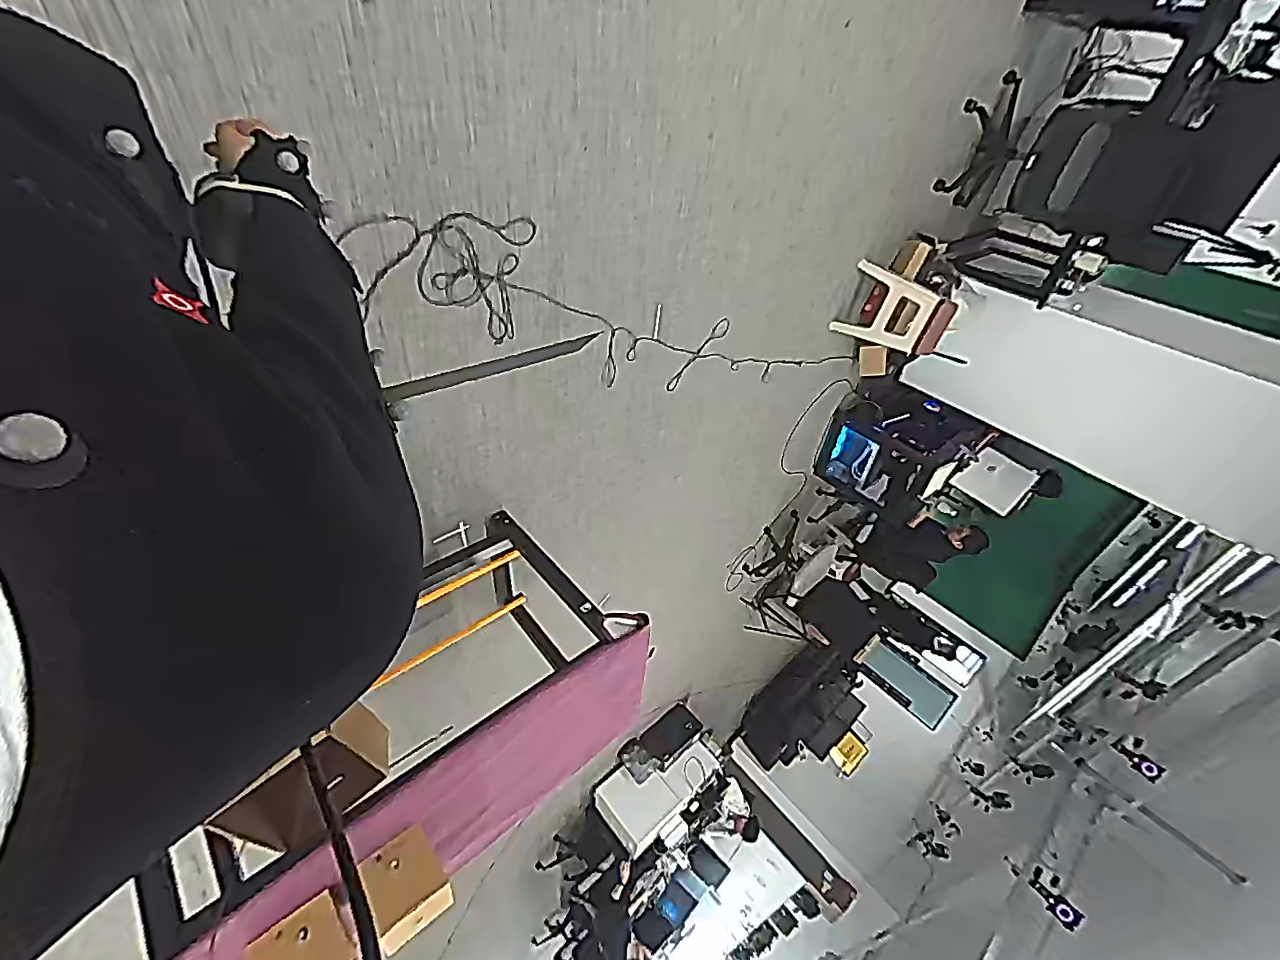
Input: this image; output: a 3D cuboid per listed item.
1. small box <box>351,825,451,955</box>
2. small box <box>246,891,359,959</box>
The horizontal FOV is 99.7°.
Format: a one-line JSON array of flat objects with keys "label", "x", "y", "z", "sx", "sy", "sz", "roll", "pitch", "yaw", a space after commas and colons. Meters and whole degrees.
[{"label": "small box", "x": -0.574, "y": 0.983, "z": 1.307, "sx": 0.168, "sy": 0.176, "sz": 0.179, "roll": -24, "pitch": 140, "yaw": -36}, {"label": "small box", "x": -0.732, "y": 1.060, "z": 1.191, "sx": 0.168, "sy": 0.176, "sz": 0.179, "roll": -24, "pitch": 140, "yaw": -37}]
